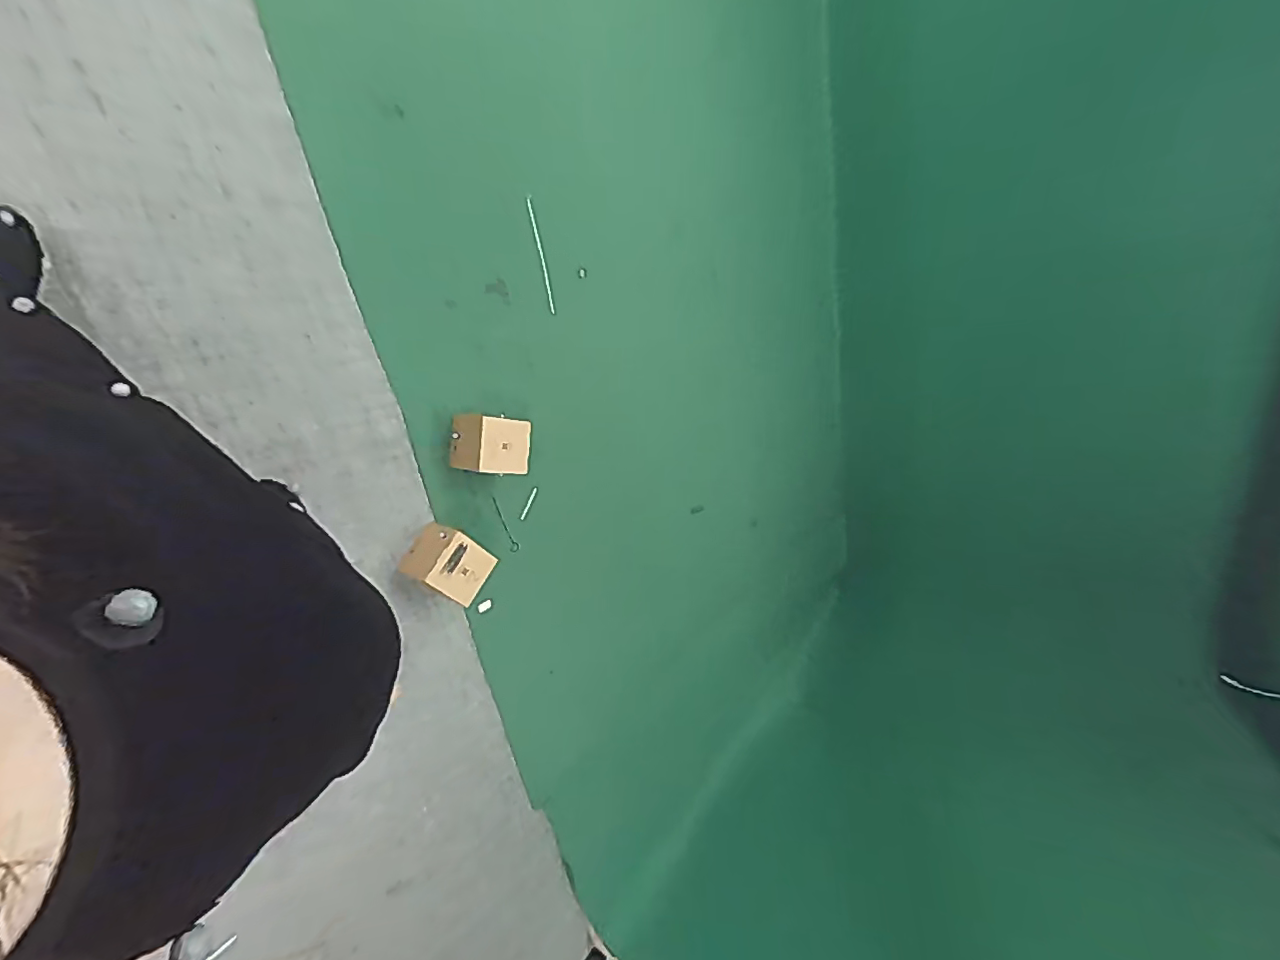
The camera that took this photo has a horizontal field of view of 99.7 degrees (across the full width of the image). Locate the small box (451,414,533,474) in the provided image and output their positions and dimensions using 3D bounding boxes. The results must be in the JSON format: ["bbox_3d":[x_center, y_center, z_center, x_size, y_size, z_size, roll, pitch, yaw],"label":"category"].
[{"bbox_3d":[-0.459,-0.112,1.674,0.179,0.176,0.168,2,94,-49],"label":"small box"}]
